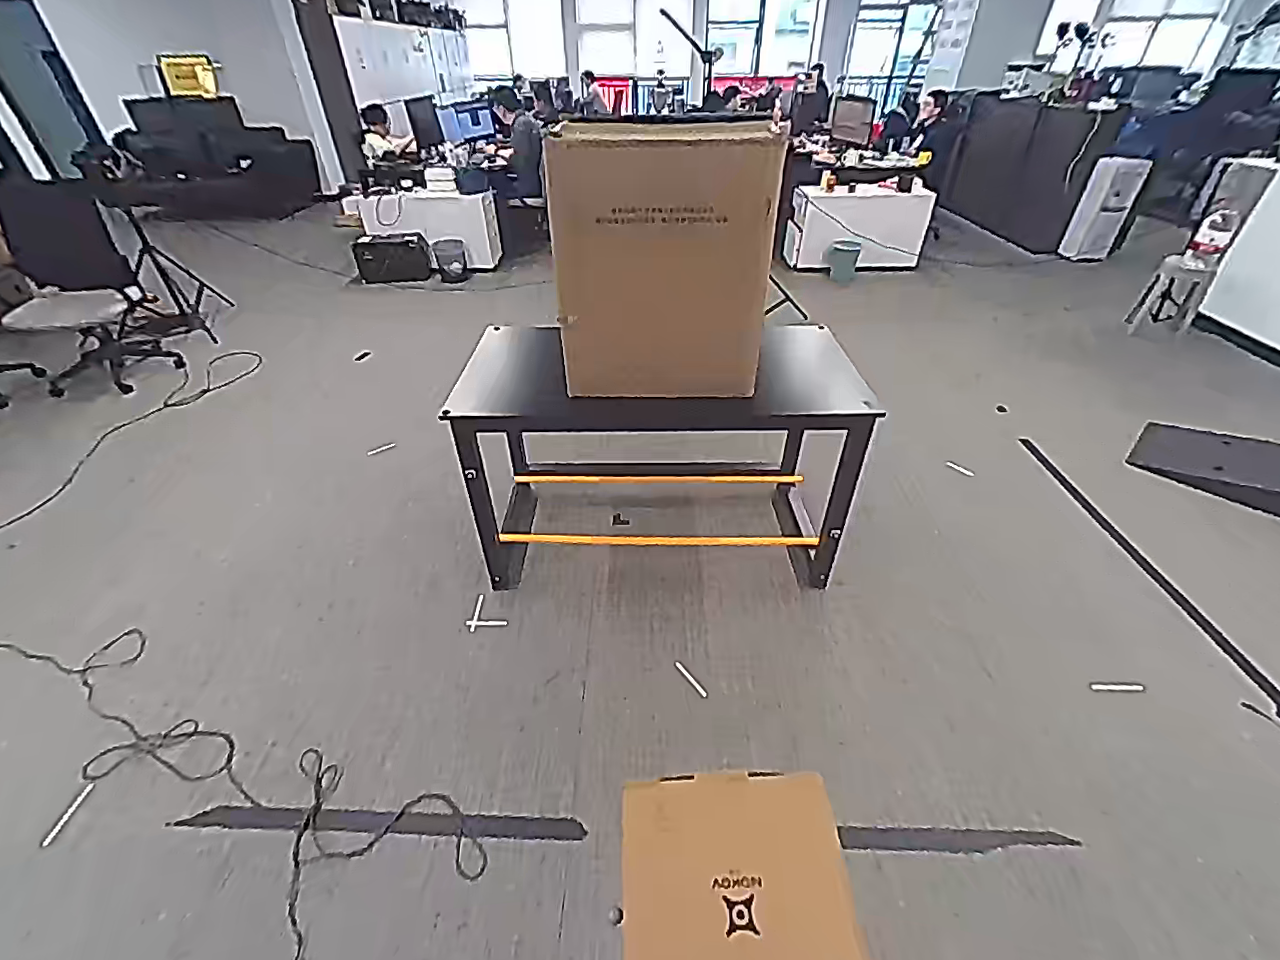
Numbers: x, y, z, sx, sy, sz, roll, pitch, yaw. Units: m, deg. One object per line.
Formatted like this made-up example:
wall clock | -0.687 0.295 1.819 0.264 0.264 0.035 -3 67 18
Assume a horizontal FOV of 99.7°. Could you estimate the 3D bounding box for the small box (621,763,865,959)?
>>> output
small box | 0.069 0.355 0.441 0.168 0.176 0.179 -2 44 0
